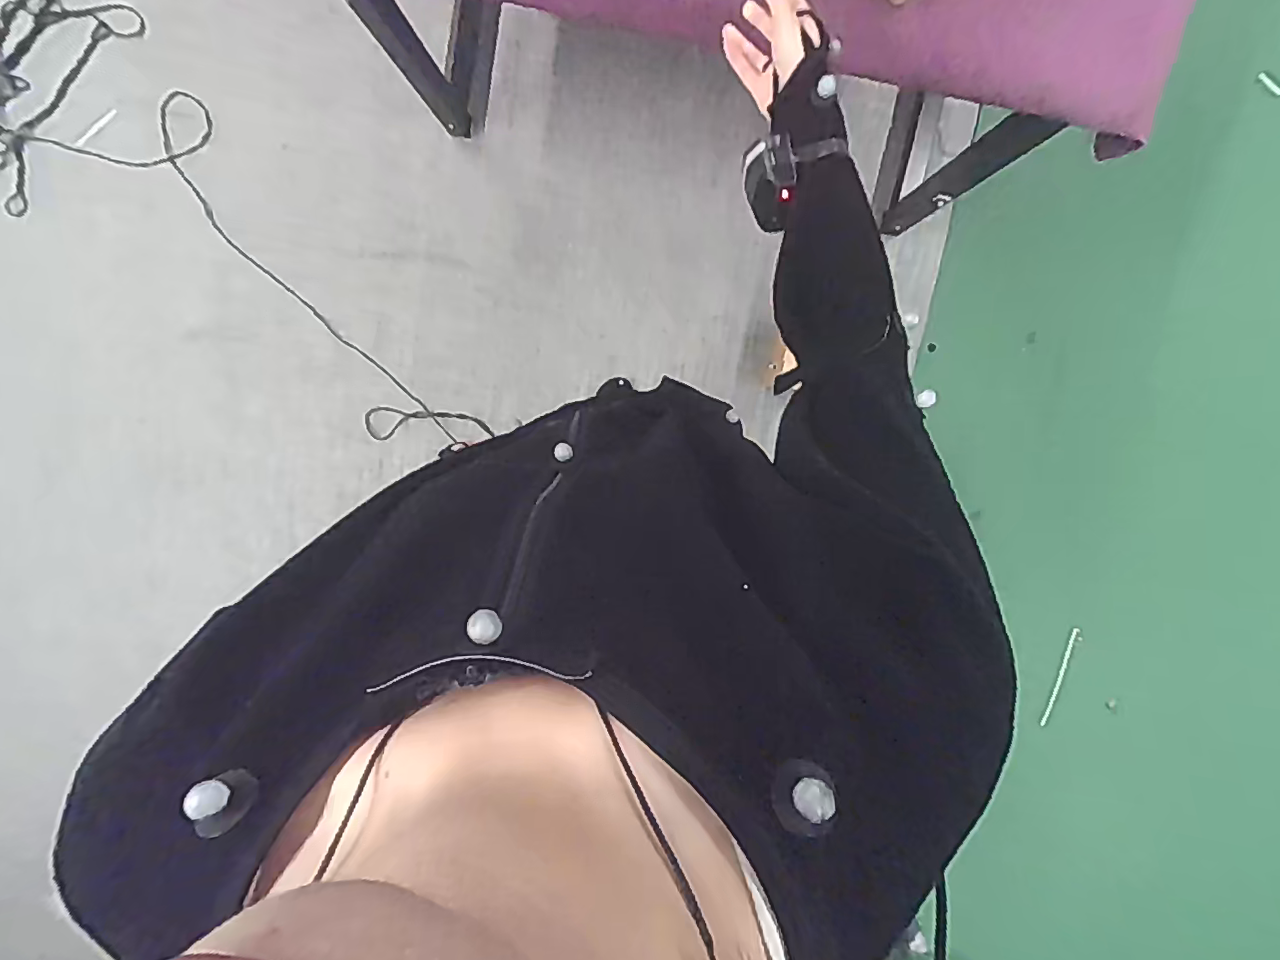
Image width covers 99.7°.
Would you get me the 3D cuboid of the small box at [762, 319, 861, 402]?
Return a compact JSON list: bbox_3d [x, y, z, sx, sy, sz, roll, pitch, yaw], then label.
[{"bbox_3d":[0.428,-0.299,1.382,0.179,0.176,0.168,14,99,-2],"label":"small box"}]
